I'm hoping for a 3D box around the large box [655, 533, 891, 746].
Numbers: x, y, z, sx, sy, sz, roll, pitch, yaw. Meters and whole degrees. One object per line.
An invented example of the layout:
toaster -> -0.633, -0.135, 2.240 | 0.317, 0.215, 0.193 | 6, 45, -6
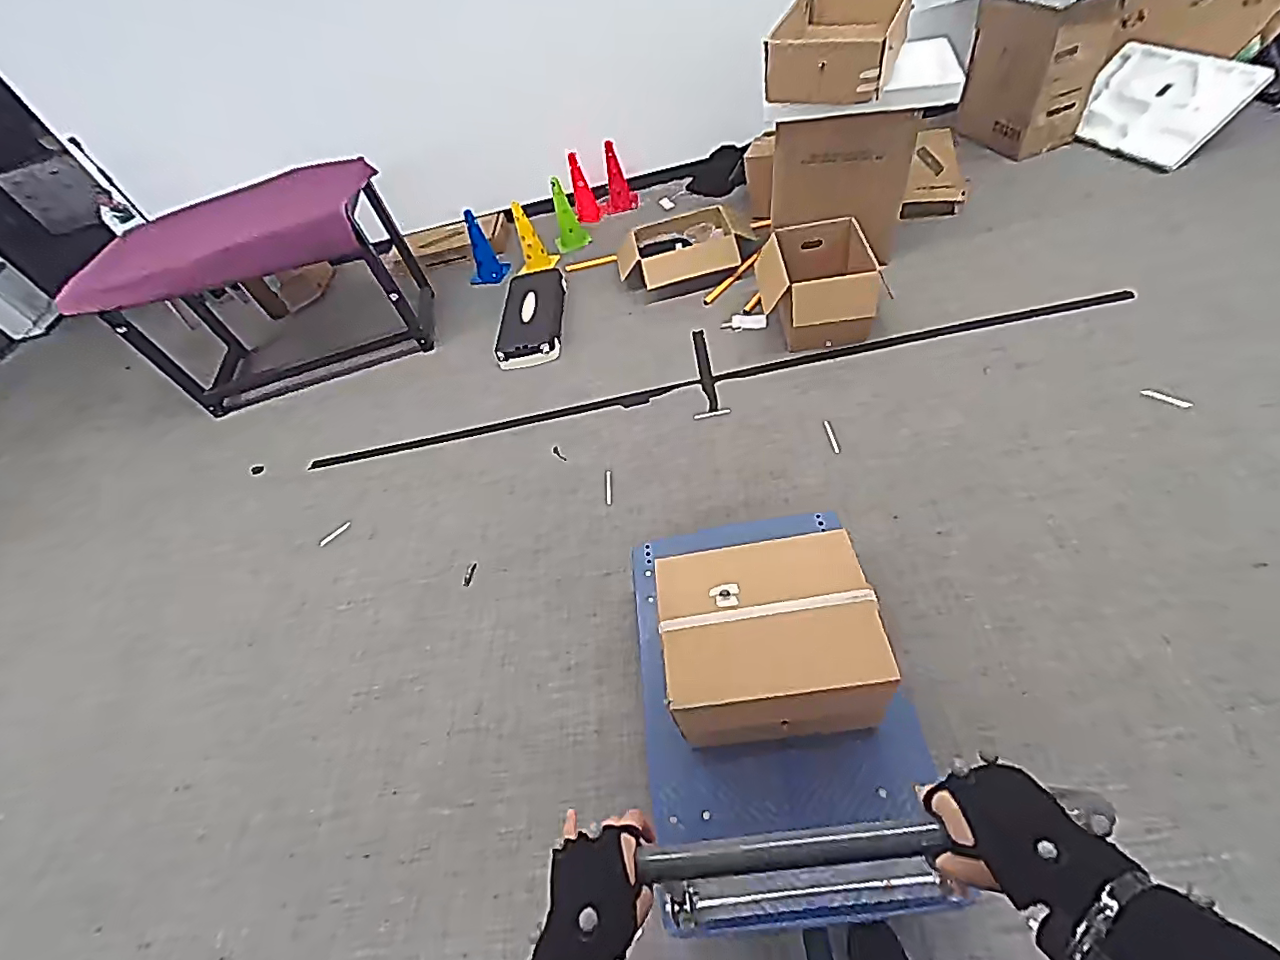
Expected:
large box -> 0.269, 0.356, 1.173 | 0.408, 0.320, 0.320 | -11, 49, 7
